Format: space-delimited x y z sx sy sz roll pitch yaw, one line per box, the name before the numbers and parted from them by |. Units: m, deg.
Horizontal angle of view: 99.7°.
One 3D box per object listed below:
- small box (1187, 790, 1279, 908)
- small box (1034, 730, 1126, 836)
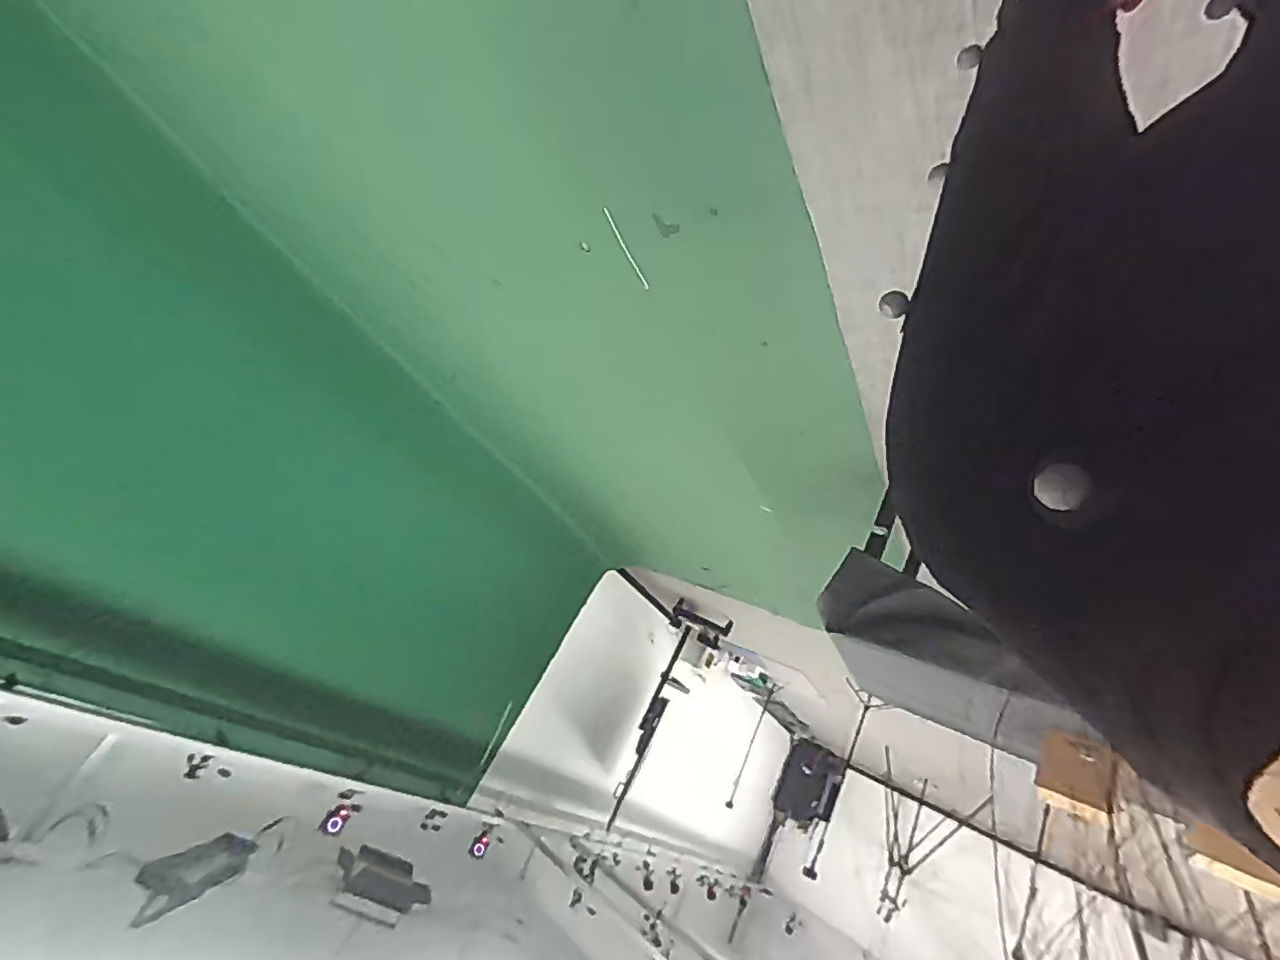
small box | 1.401 0.849 1.250 0.168 0.176 0.179 10 151 42
small box | 1.179 0.804 1.445 0.168 0.176 0.179 5 146 46
